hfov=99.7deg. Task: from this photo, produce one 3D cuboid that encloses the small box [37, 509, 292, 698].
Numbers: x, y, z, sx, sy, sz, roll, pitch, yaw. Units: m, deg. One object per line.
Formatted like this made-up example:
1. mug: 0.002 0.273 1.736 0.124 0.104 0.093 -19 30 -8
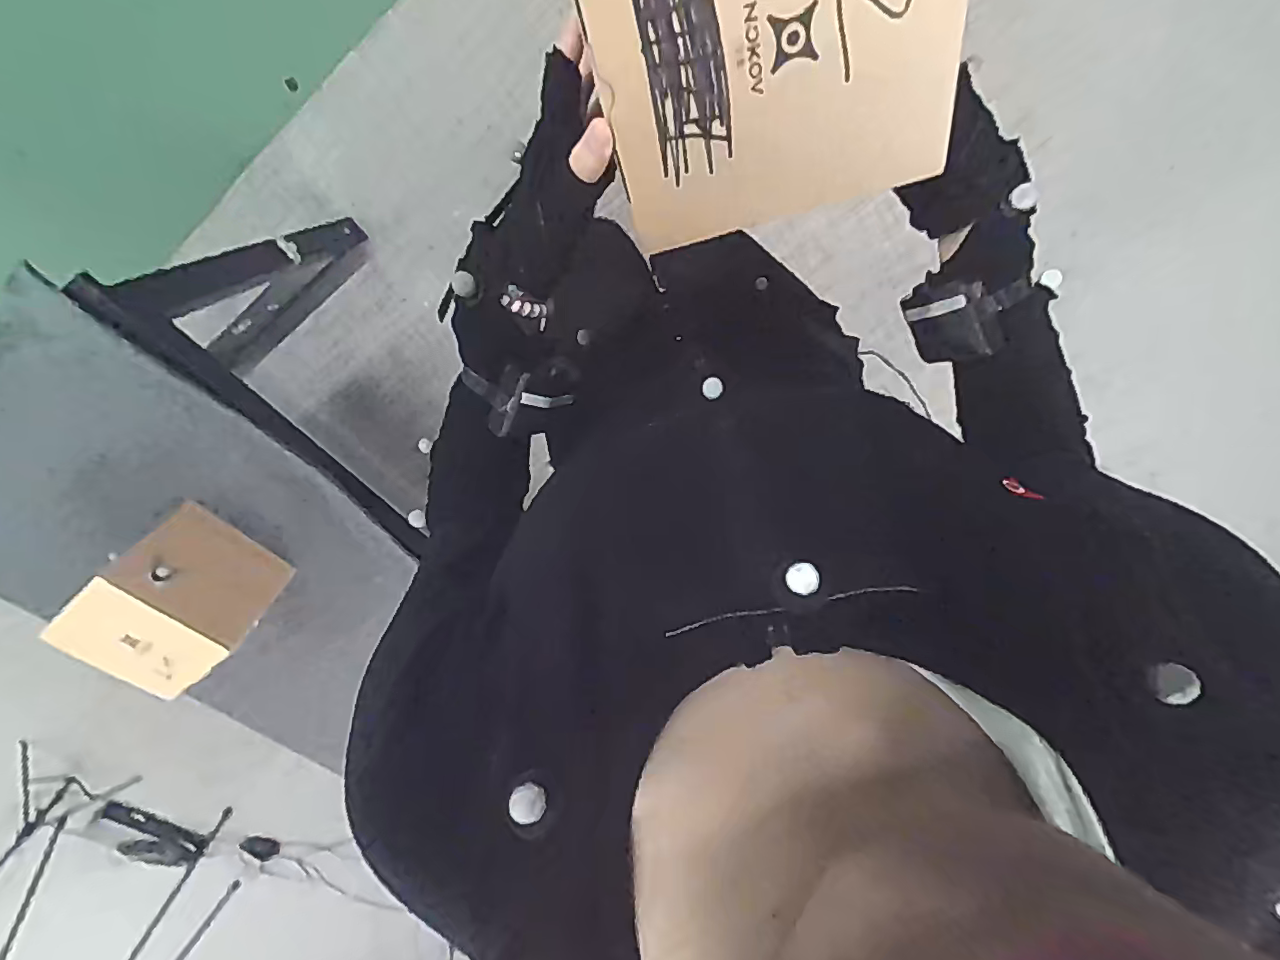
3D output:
1. small box: -0.651 0.164 0.764 0.168 0.176 0.179 -34 117 18
